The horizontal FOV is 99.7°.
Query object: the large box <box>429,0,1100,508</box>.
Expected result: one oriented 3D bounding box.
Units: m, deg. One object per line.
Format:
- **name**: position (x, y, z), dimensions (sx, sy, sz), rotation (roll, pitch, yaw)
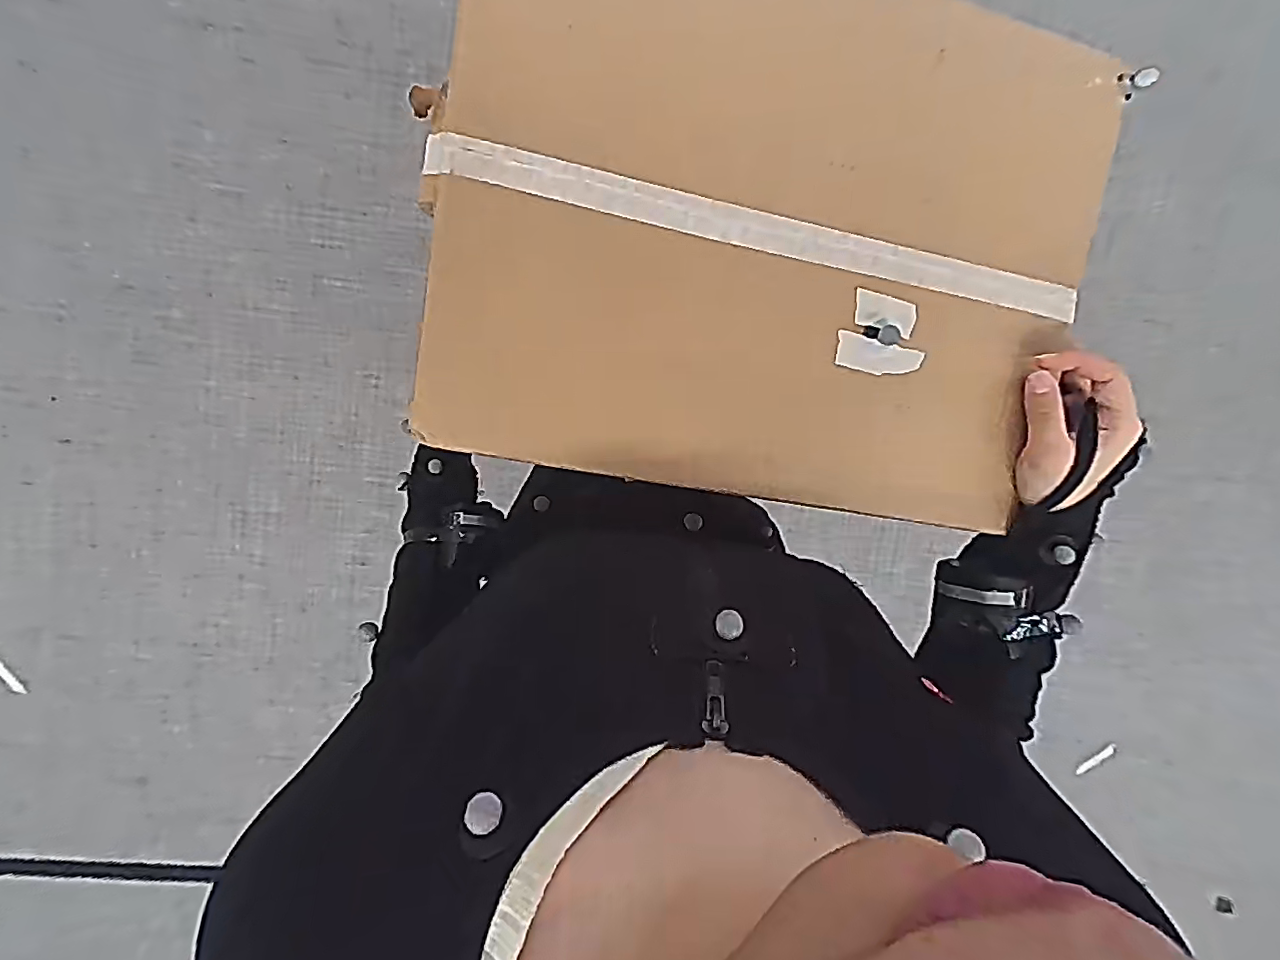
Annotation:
- **large box**: position (0.063, -0.173, 0.478), dimensions (0.408, 0.320, 0.320), rotation (9, 97, -12)
